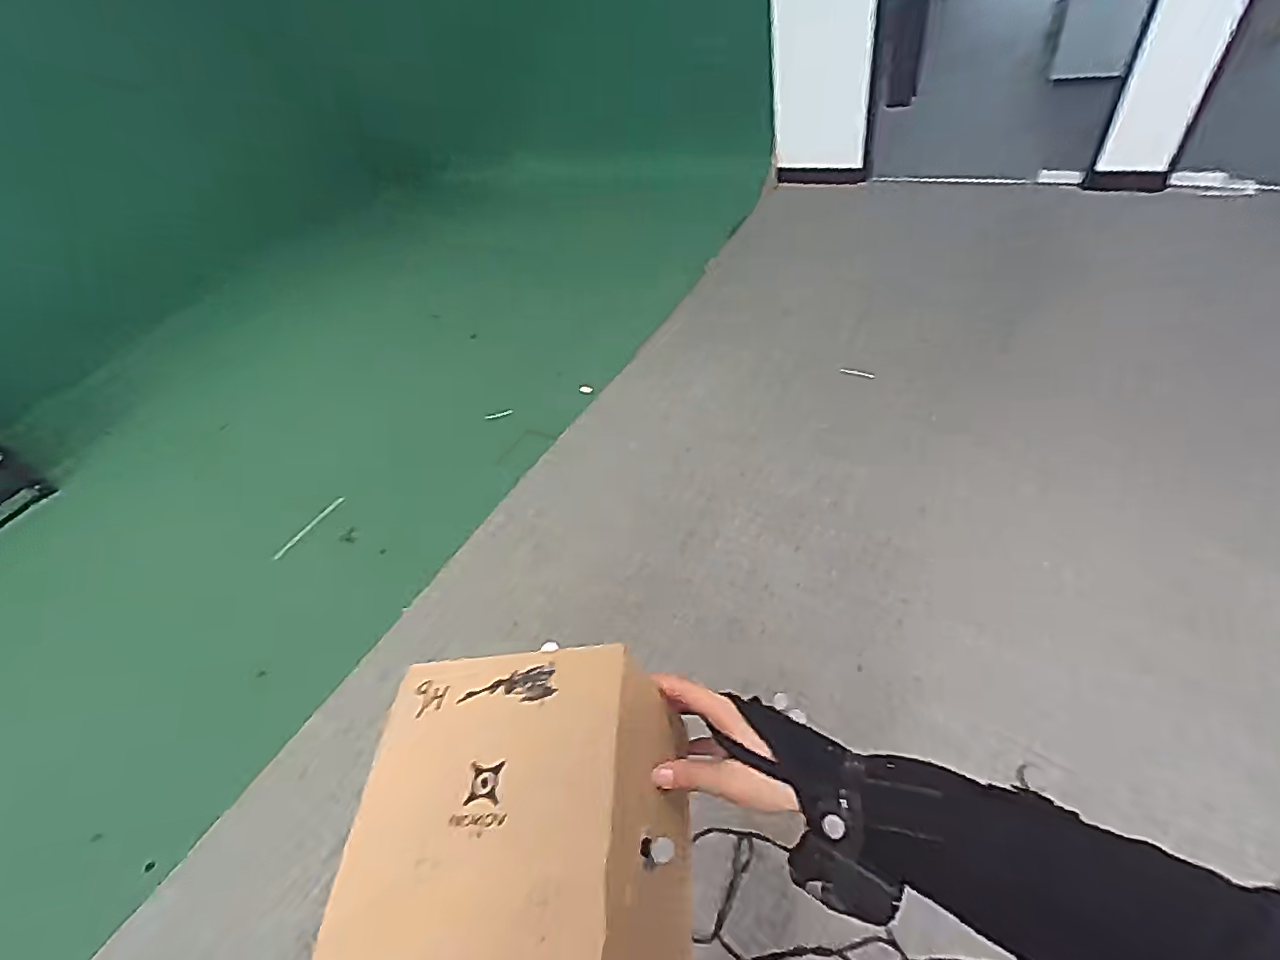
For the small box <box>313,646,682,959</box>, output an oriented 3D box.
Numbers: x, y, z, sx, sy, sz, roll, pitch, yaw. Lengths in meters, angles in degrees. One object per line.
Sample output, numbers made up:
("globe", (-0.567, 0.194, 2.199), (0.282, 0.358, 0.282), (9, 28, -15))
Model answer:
("small box", (-0.069, 0.235, 0.373), (0.168, 0.176, 0.179), (-10, 48, 15))
